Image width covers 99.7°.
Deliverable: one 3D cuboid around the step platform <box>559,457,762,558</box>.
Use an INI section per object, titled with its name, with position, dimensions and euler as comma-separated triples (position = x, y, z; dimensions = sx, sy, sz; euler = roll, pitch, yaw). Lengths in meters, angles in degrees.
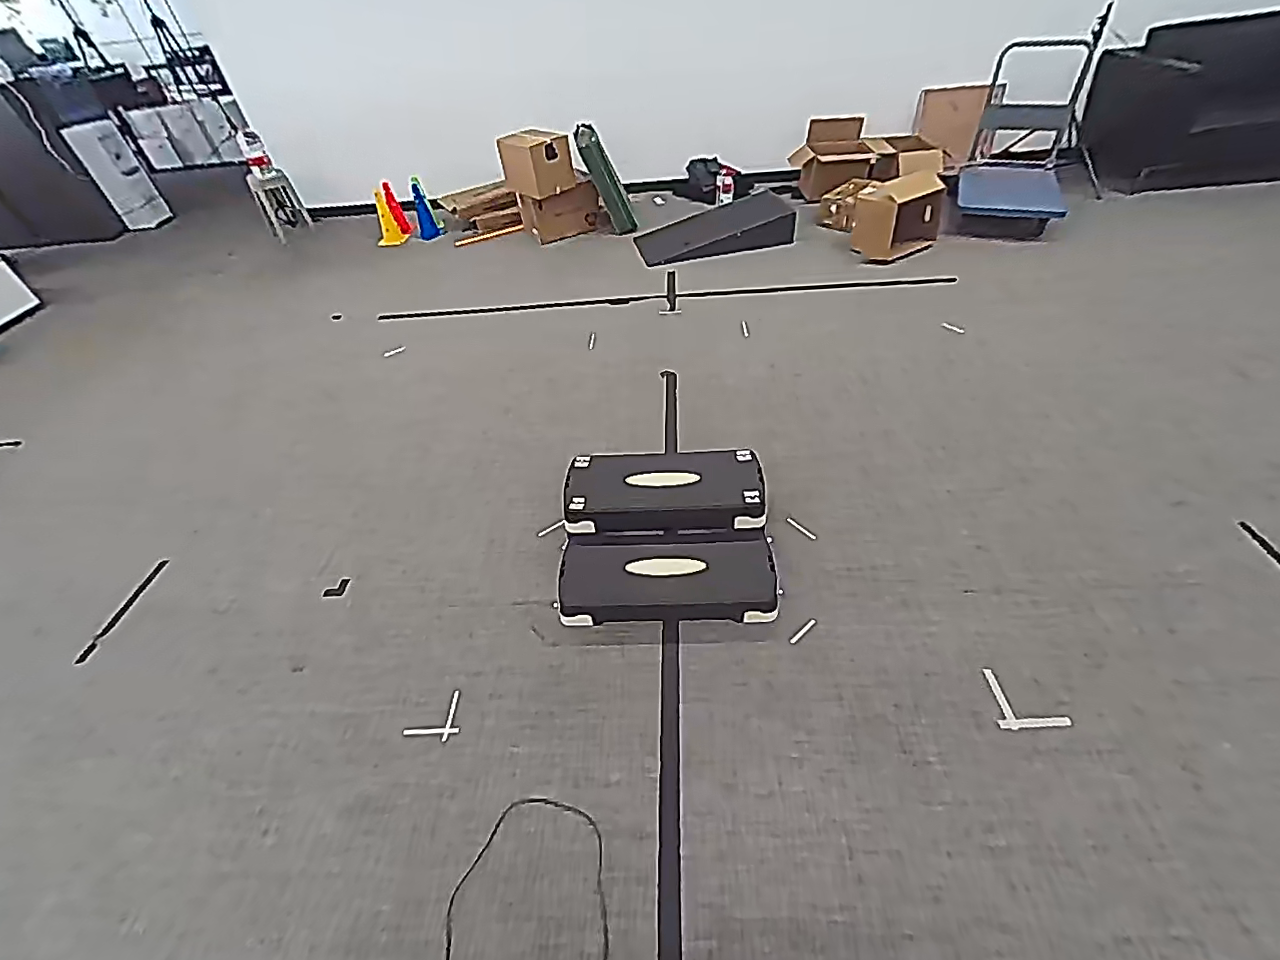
[step platform]
position = 0.068, 0.089, 1.853
dimensions = 0.684, 0.204, 0.286
euler = -2, 45, 3
